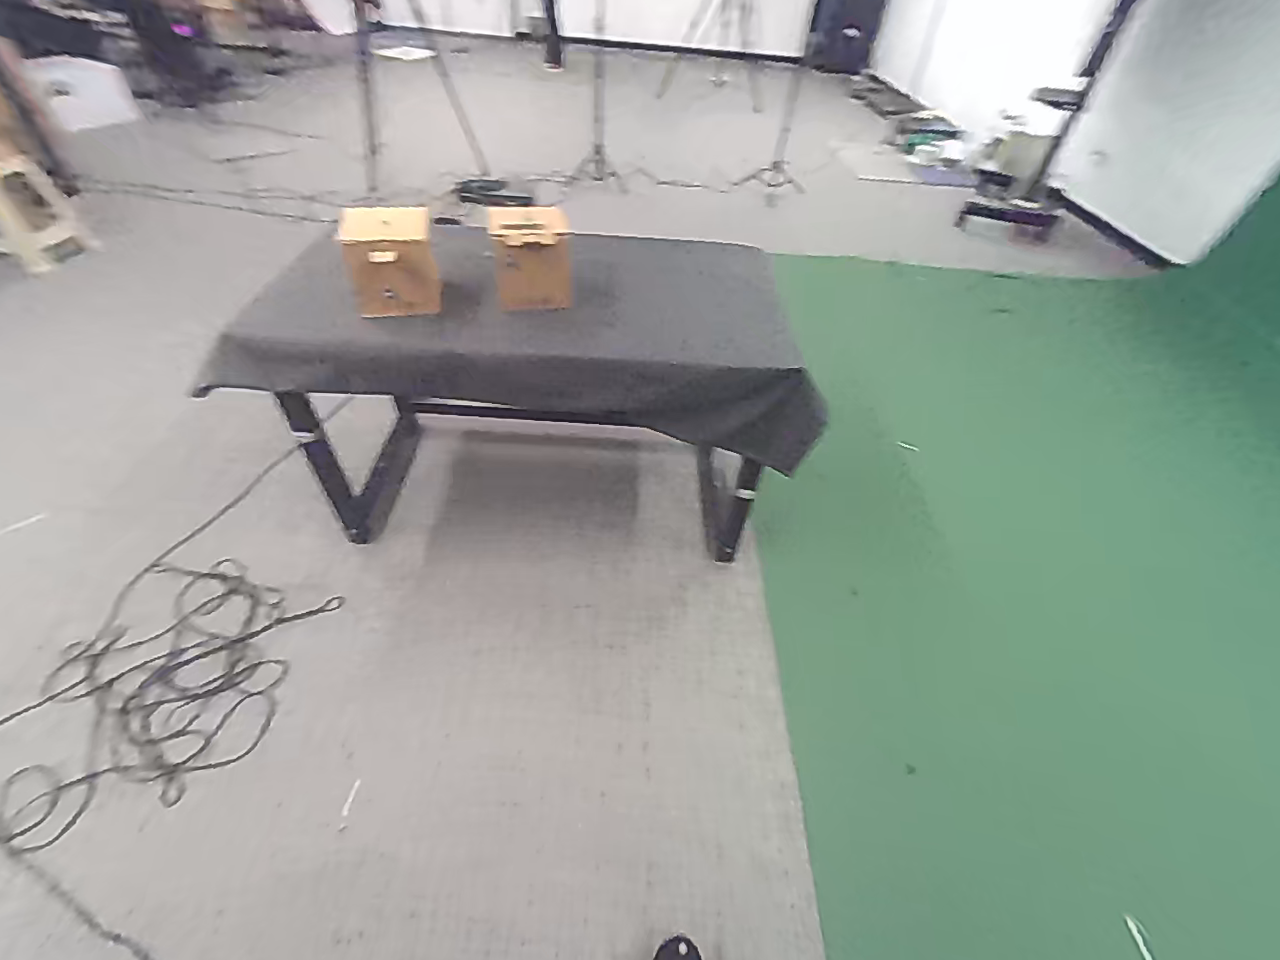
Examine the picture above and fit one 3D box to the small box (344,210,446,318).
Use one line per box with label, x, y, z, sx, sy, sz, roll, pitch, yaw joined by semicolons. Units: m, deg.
small box;-0.528;-0.476;1.189;0.168;0.176;0.179;-8;47;-13
